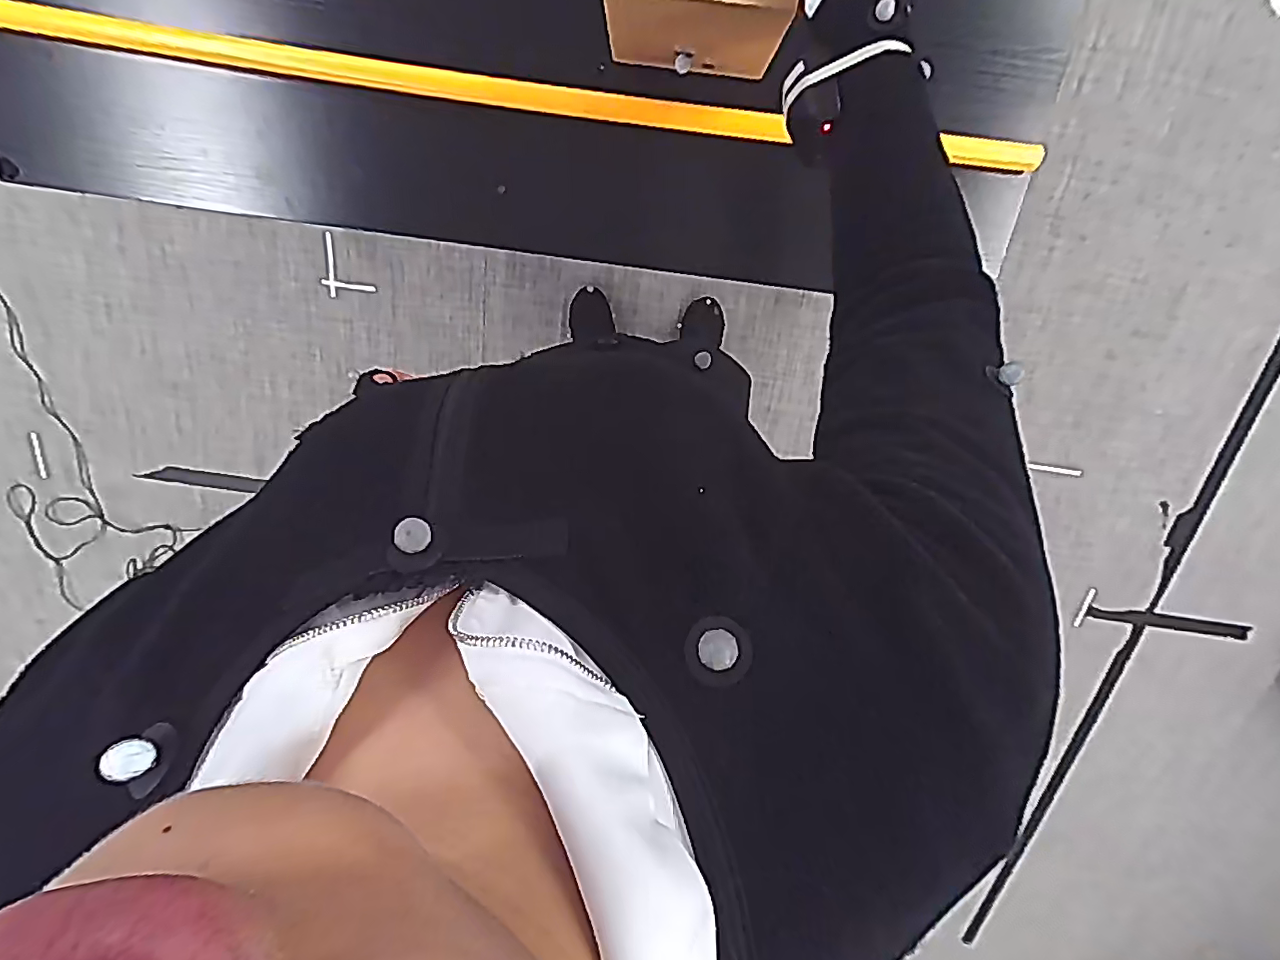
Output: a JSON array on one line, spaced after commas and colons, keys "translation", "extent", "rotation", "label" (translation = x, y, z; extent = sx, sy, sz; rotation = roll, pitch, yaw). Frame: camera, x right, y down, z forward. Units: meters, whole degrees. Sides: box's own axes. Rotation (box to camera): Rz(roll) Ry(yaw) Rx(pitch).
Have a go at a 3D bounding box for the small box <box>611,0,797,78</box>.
[{"translation": [0.061, -0.508, 0.494], "extent": [0.168, 0.176, 0.179], "rotation": [7, 111, -1], "label": "small box"}]
